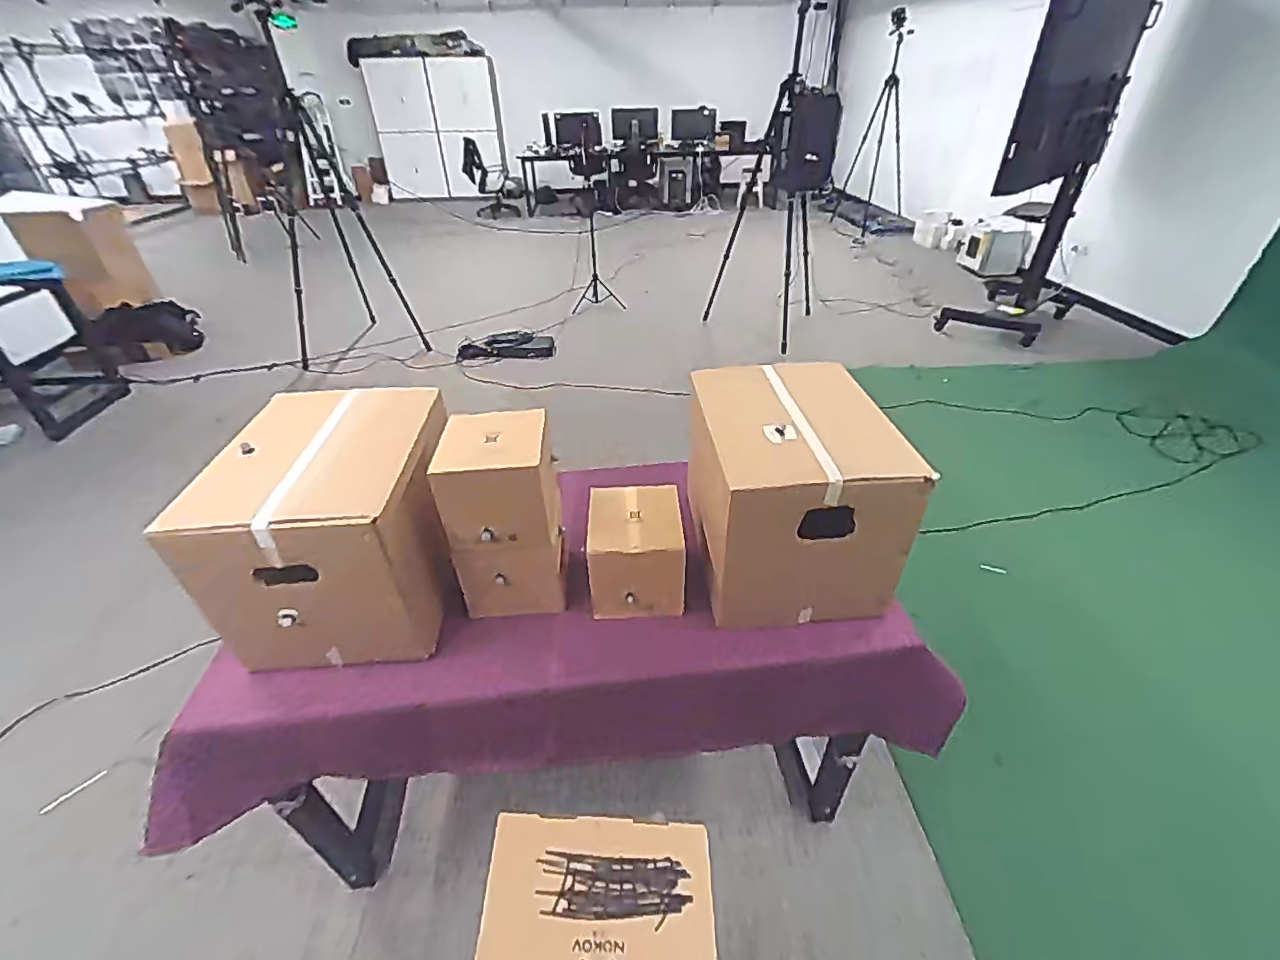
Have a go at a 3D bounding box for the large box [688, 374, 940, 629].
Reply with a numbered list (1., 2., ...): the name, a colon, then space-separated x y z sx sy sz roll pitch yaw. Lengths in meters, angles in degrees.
1. large box: 0.279 0.025 1.039 0.320 0.320 0.408 -3 37 -3
